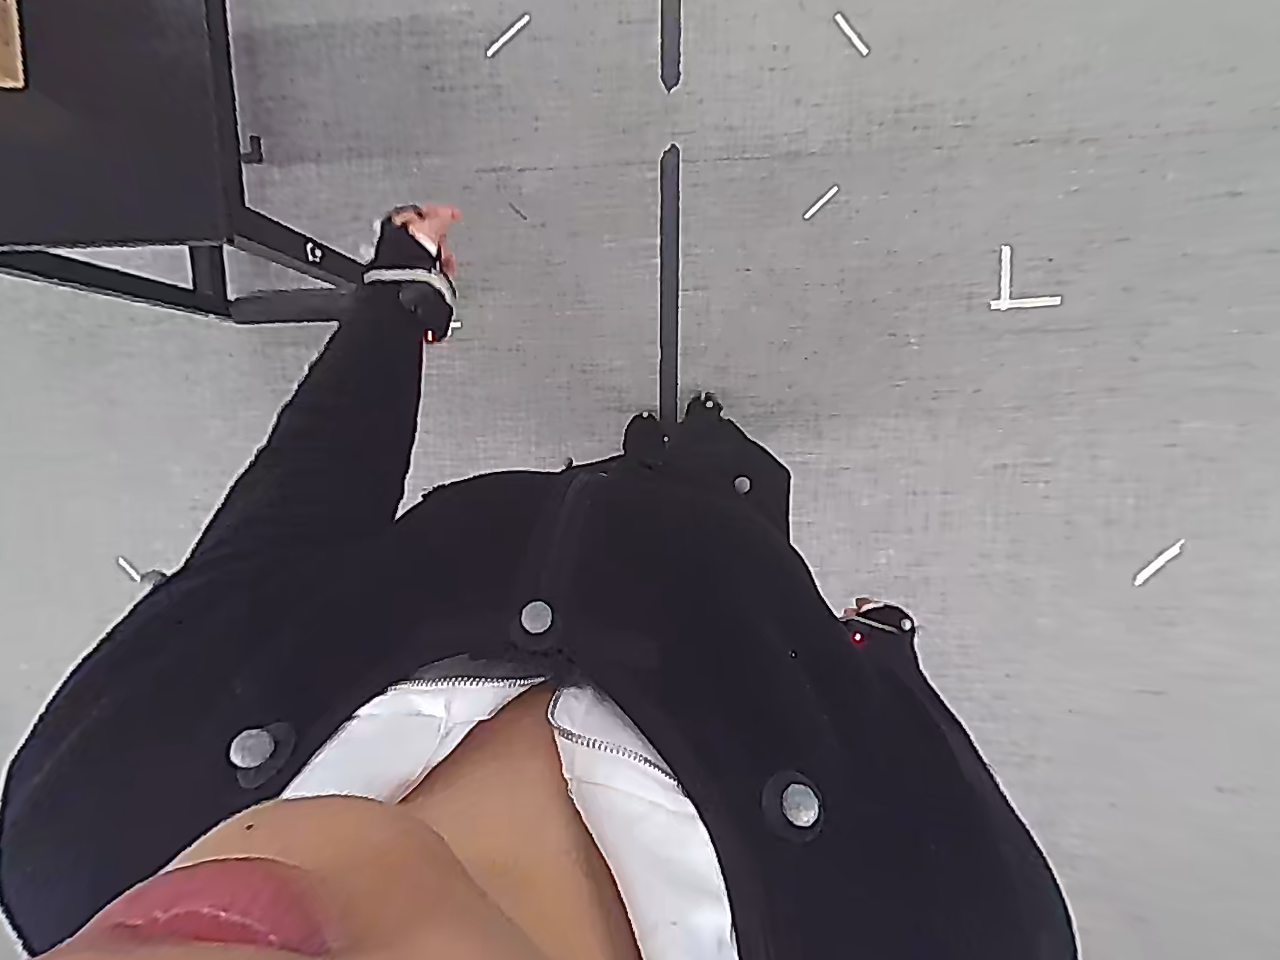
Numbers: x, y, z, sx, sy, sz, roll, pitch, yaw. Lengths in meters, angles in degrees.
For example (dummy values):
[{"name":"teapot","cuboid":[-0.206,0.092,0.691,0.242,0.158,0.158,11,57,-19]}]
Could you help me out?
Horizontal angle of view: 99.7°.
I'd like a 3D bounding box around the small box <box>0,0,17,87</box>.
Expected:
[{"name":"small box","cuboid":[-0.932,-0.615,0.661,0.179,0.176,0.168,3,96,3]}]
